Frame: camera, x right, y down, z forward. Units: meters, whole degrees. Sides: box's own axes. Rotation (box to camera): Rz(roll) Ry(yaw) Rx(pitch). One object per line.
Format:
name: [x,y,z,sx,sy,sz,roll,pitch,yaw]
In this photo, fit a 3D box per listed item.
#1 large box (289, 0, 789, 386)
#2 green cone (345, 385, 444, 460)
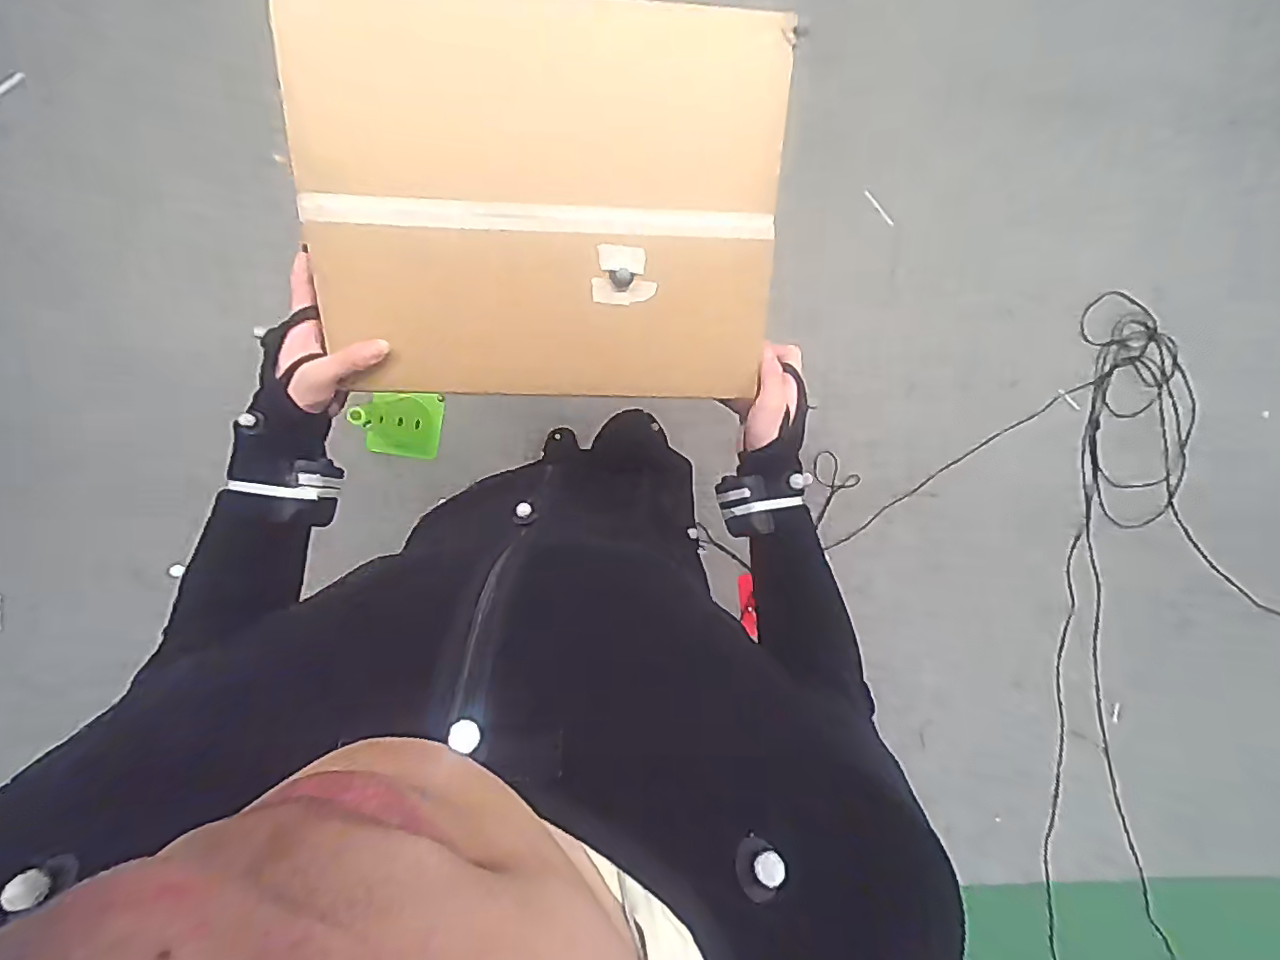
large box: [-0.091,-0.288,0.618,0.408,0.320,0.320,0,111,-6]
green cone: [-0.661,-0.152,1.385,0.200,0.368,0.202,9,94,-6]
